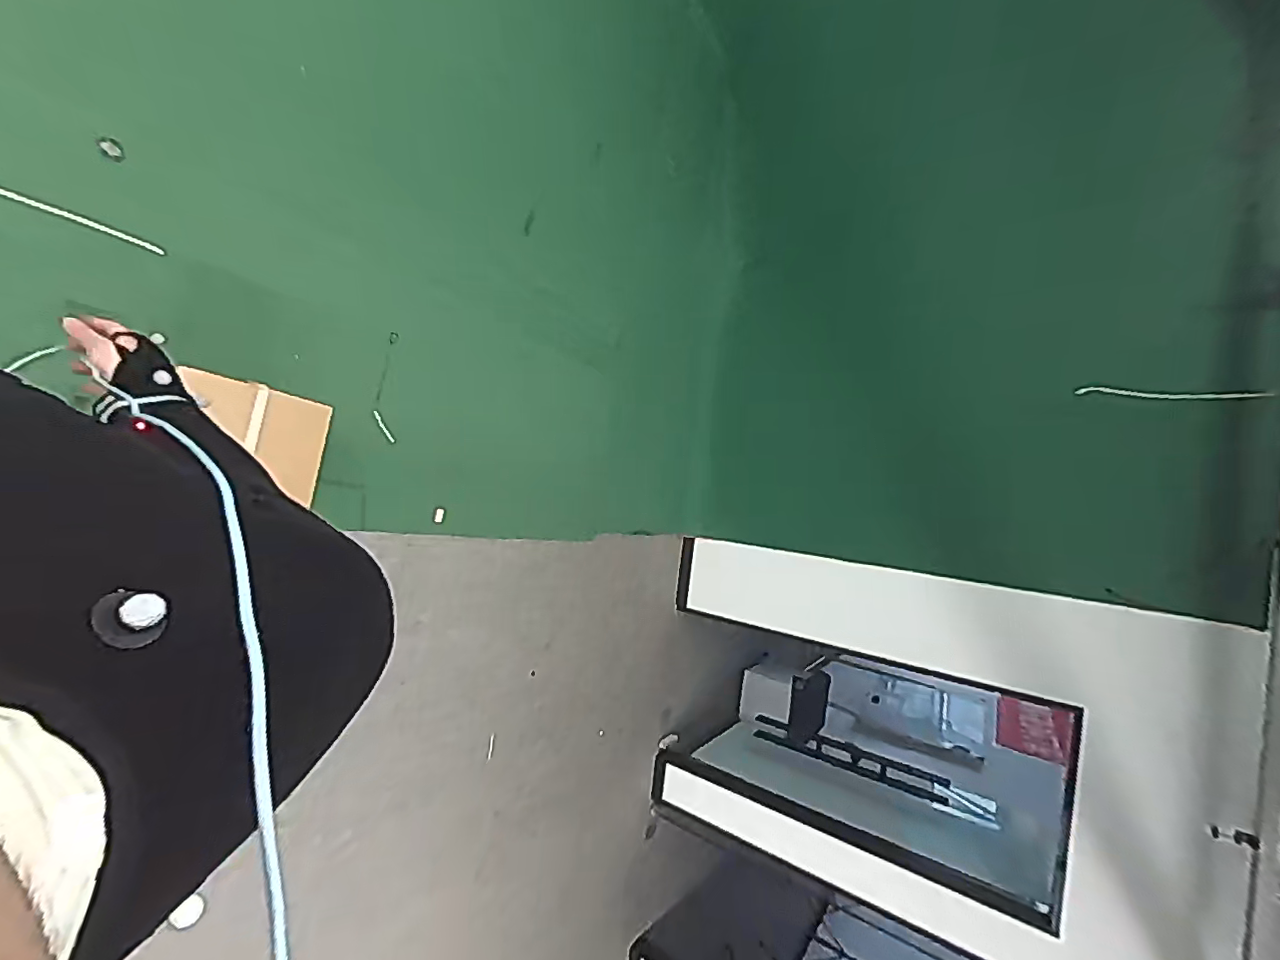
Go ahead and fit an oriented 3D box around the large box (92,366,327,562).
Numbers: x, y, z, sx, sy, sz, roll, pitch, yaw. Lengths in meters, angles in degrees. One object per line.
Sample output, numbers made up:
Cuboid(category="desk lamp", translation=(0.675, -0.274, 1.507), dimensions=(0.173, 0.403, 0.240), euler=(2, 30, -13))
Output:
Cuboid(category="large box", translation=(-1.010, -0.034, 1.282), dimensions=(0.320, 0.320, 0.408), euler=(16, 83, -55))
